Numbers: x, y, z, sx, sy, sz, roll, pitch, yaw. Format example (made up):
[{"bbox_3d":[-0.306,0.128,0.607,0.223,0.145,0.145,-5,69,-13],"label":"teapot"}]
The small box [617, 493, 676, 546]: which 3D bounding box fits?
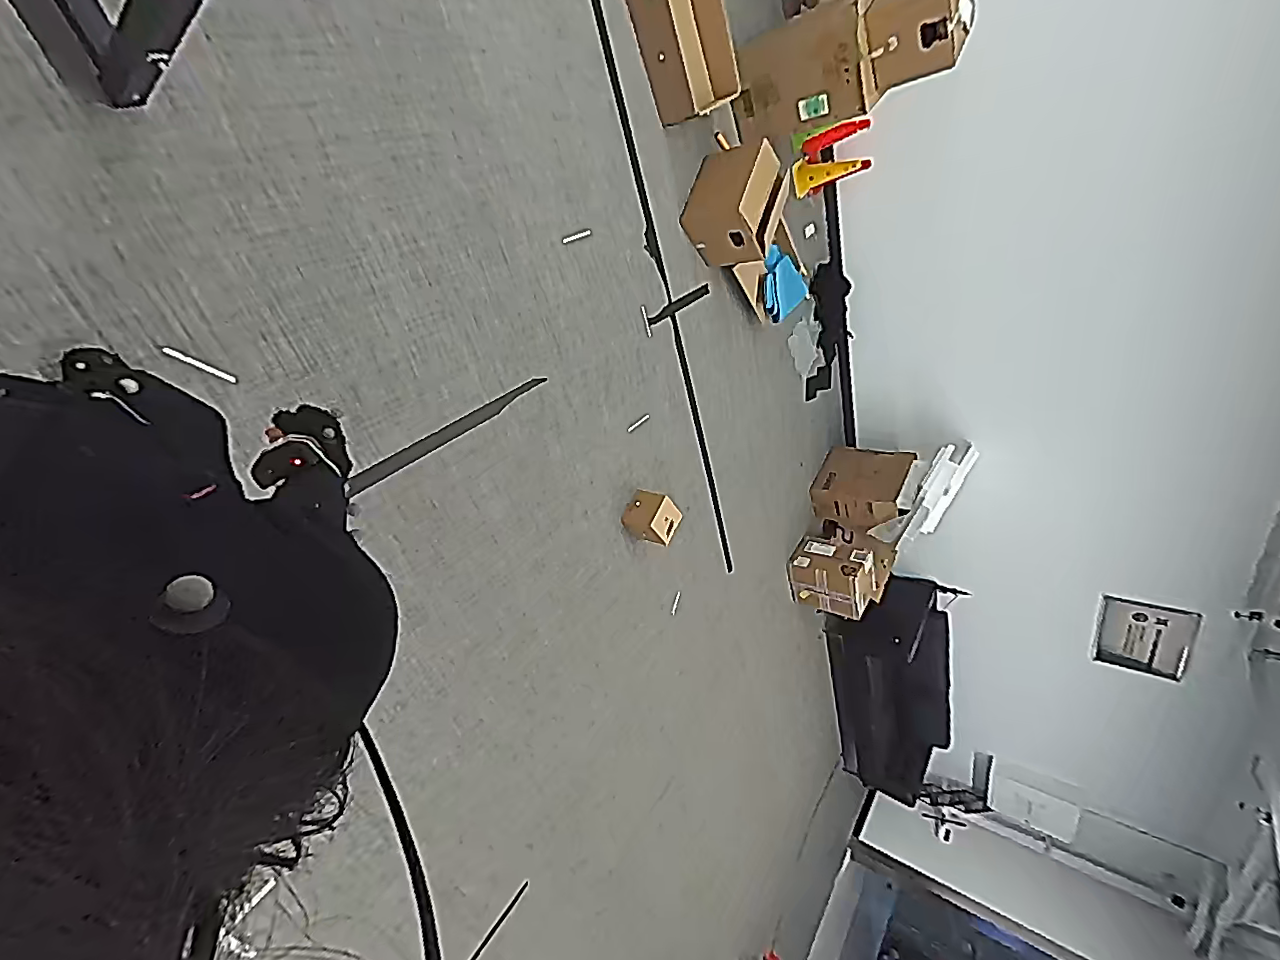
[{"bbox_3d":[0.029,0.172,2.436,0.179,0.176,0.168,52,58,-42],"label":"small box"}]
